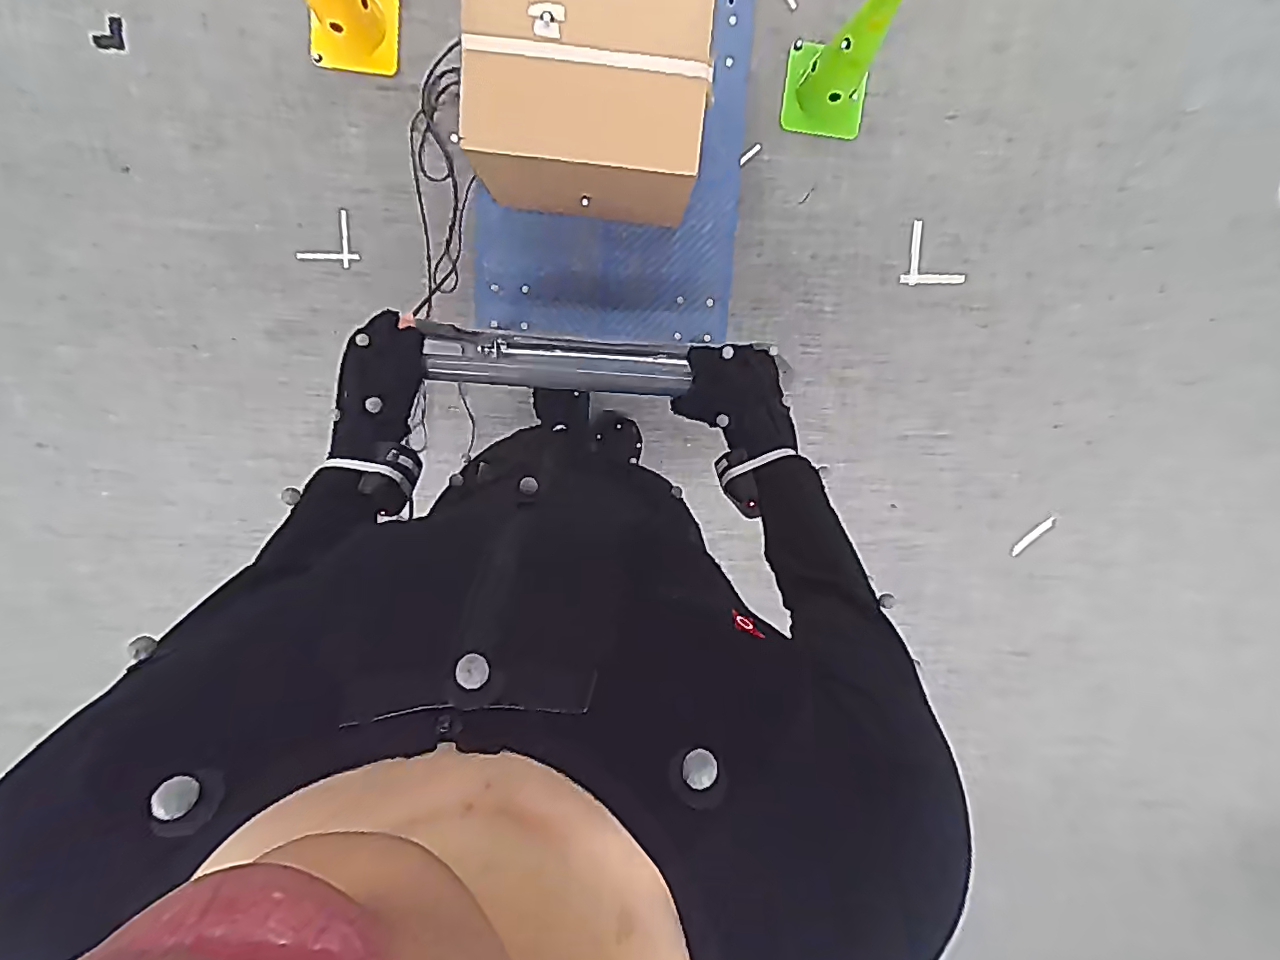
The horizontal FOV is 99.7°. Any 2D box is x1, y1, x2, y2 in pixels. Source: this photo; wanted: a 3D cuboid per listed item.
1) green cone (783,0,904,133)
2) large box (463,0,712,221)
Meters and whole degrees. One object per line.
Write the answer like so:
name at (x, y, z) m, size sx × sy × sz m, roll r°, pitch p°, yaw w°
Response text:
green cone at (0.468, -0.944, 1.163) m, size 0.202 × 0.368 × 0.200 m, roll 6°, pitch 99°, yaw -4°
large box at (-0.091, -0.712, 1.036) m, size 0.408 × 0.320 × 0.320 m, roll 5°, pitch 100°, yaw -2°
